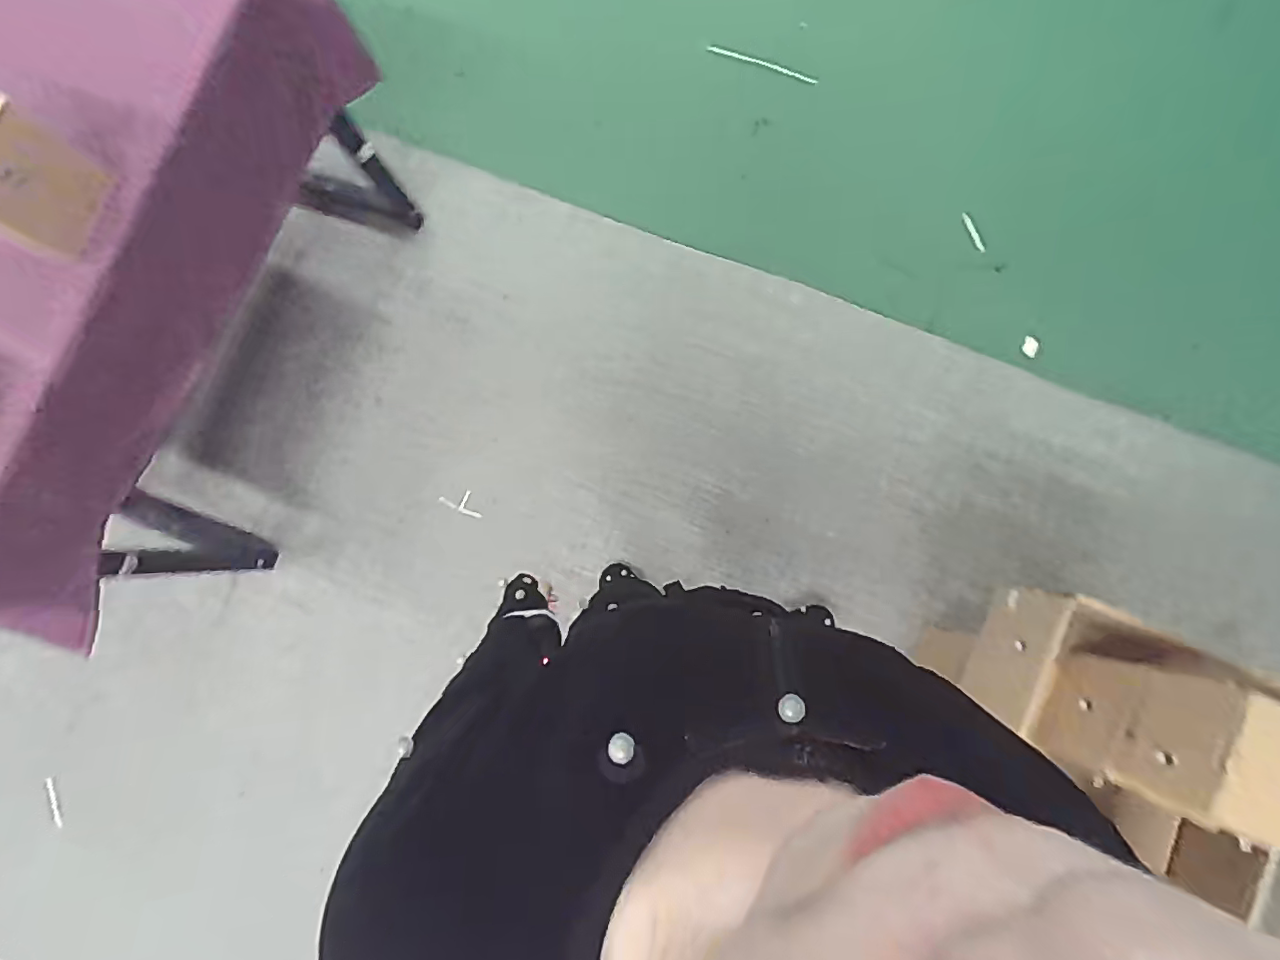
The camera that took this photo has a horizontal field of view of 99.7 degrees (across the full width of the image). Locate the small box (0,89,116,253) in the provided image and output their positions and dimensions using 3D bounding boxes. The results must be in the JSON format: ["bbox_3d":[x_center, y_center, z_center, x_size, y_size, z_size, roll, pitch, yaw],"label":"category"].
[{"bbox_3d":[-1.001,-0.494,0.851,0.168,0.176,0.179,22,84,5],"label":"small box"}]

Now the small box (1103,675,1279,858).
[{"bbox_3d":[0.790,0.383,0.728,0.179,0.176,0.168,25,84,5],"label":"small box"}]
